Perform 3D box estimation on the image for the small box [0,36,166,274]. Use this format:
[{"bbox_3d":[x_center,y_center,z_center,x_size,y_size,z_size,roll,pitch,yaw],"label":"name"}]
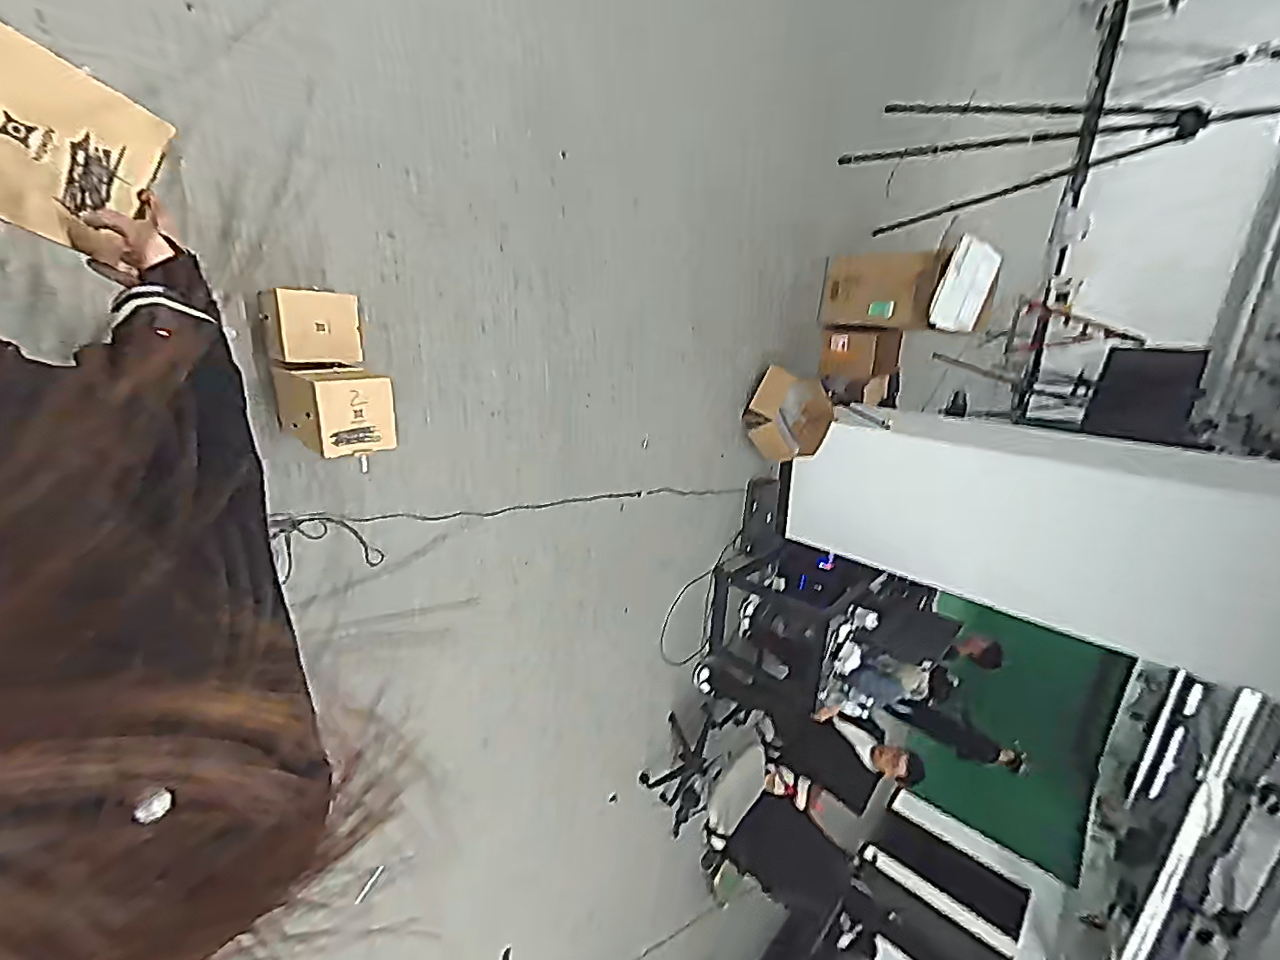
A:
[{"bbox_3d":[-0.637,-0.338,0.560,0.179,0.176,0.168,23,90,-46],"label":"small box"}]
